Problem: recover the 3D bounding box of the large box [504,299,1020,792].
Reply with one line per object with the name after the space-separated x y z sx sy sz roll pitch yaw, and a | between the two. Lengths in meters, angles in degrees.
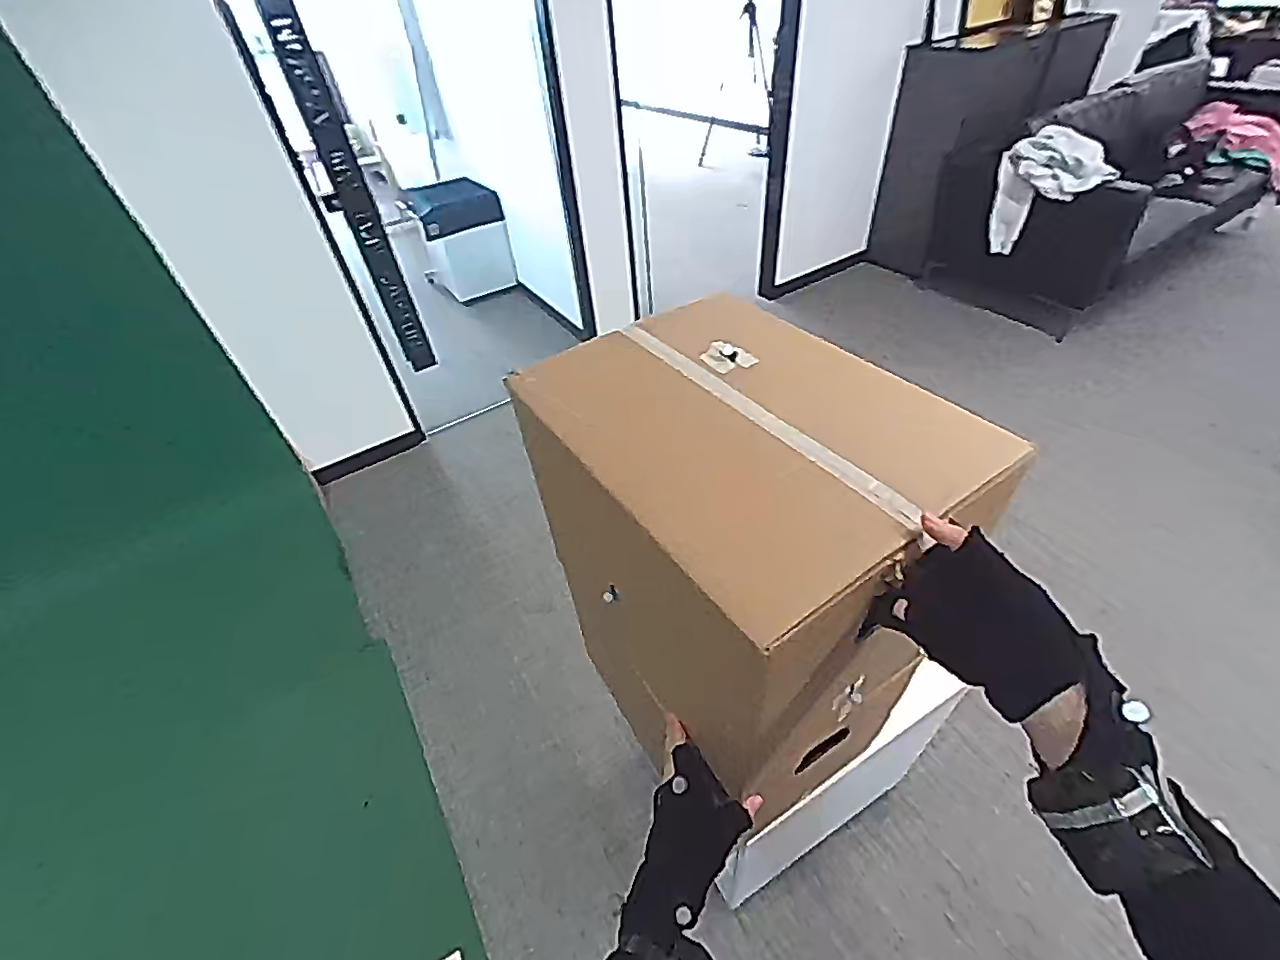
0.100 0.044 0.621 0.320 0.320 0.408 -27 46 -21 | large box
